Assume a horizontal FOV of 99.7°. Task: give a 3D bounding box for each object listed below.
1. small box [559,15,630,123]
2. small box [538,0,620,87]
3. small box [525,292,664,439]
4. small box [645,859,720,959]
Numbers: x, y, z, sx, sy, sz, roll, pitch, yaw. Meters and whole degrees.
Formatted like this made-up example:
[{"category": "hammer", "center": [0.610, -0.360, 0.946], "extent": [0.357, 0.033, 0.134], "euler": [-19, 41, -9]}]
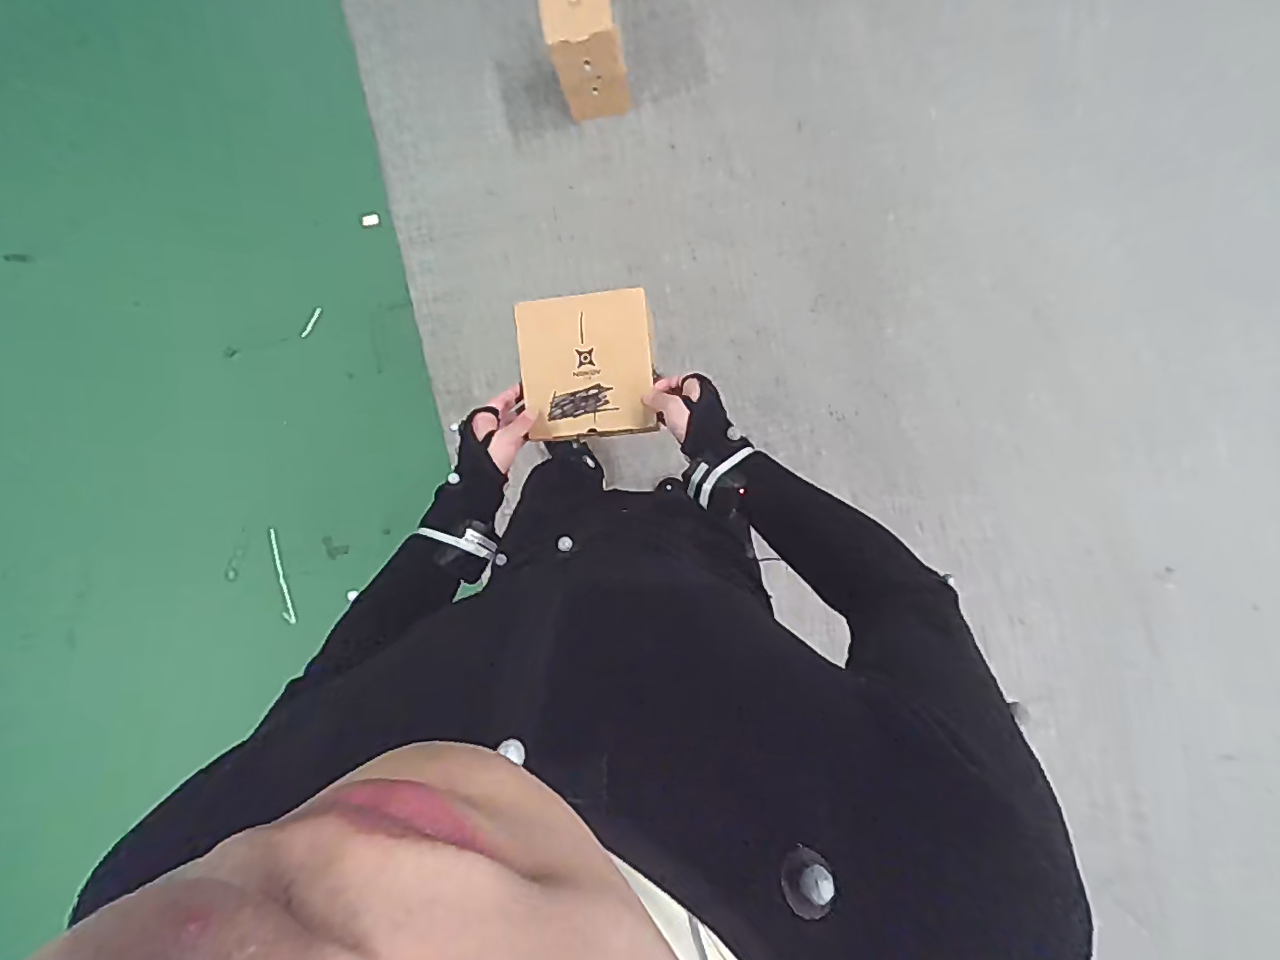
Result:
[{"category": "small box", "center": [-0.130, -1.133, 1.506], "extent": [0.179, 0.176, 0.168], "euler": [-7, 93, 5]}, {"category": "small box", "center": [-0.149, -1.118, 1.343], "extent": [0.168, 0.176, 0.179], "euler": [-8, 94, 6]}, {"category": "small box", "center": [-0.055, -0.151, 0.770], "extent": [0.168, 0.176, 0.179], "euler": [-4, 93, 4]}, {"category": "small box", "center": [0.116, 1.151, 1.426], "extent": [0.168, 0.176, 0.179], "euler": [-12, 91, 5]}]
